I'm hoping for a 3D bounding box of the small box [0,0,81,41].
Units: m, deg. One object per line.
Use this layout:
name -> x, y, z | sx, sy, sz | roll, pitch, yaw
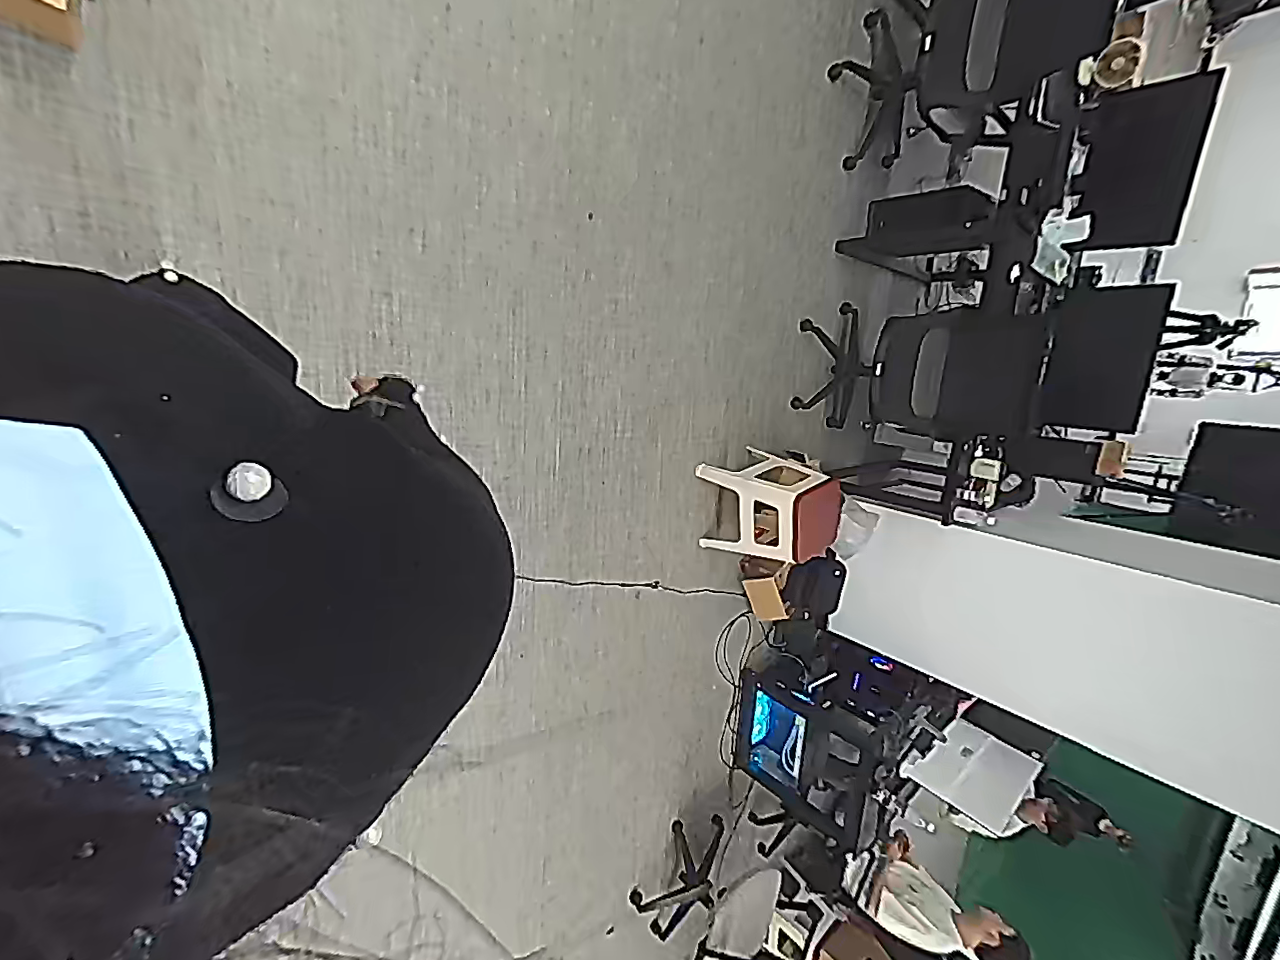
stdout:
small box -> -1.003, -0.839, 0.840 | 0.179, 0.176, 0.168 | 6, 98, -43
